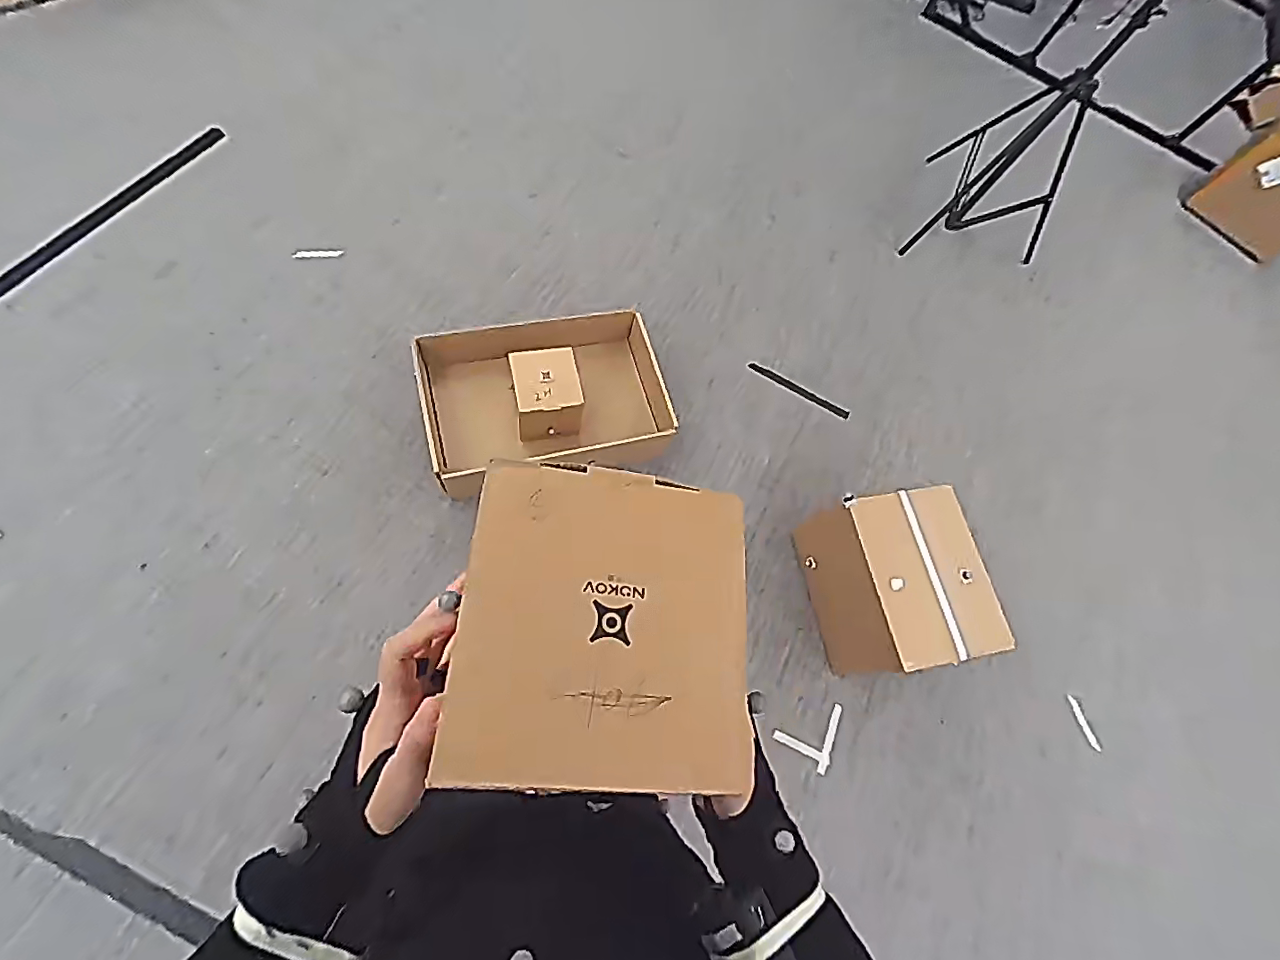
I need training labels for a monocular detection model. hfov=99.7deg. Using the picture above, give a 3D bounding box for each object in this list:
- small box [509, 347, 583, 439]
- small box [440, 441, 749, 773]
[{"bbox_3d":[-0.254,-0.230,1.443,0.168,0.176,0.179,-10,72,-14],"label":"small box"},{"bbox_3d":[-0.036,0.096,0.380,0.168,0.176,0.179,8,67,-13],"label":"small box"}]
